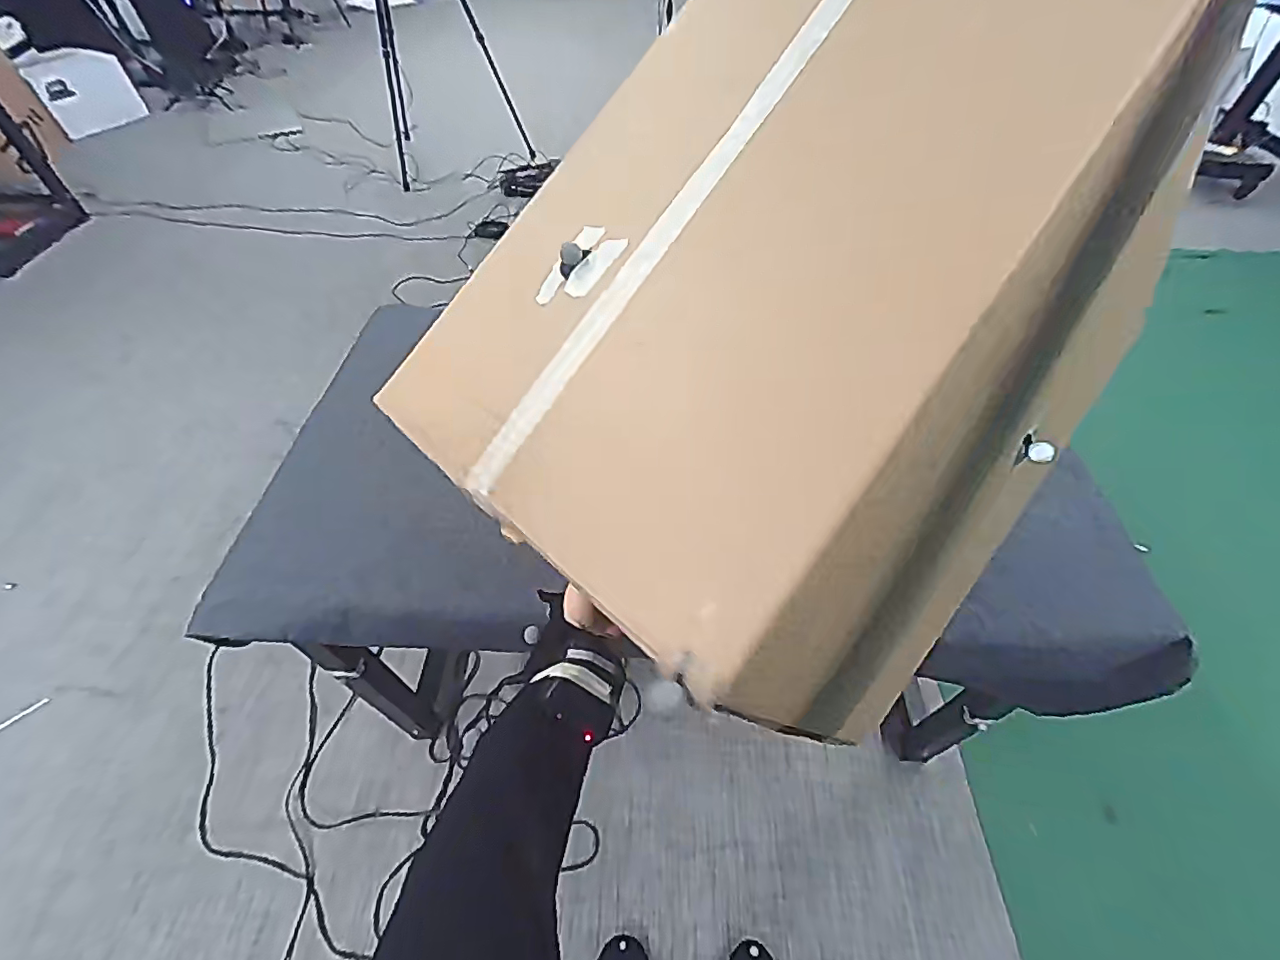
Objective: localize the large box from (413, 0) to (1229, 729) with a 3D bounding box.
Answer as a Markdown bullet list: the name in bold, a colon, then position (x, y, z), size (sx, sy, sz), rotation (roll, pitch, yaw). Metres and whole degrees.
- **large box**: position (0.122, -0.082, 0.417), size (0.320, 0.320, 0.408), rotation (31, 85, 39)
